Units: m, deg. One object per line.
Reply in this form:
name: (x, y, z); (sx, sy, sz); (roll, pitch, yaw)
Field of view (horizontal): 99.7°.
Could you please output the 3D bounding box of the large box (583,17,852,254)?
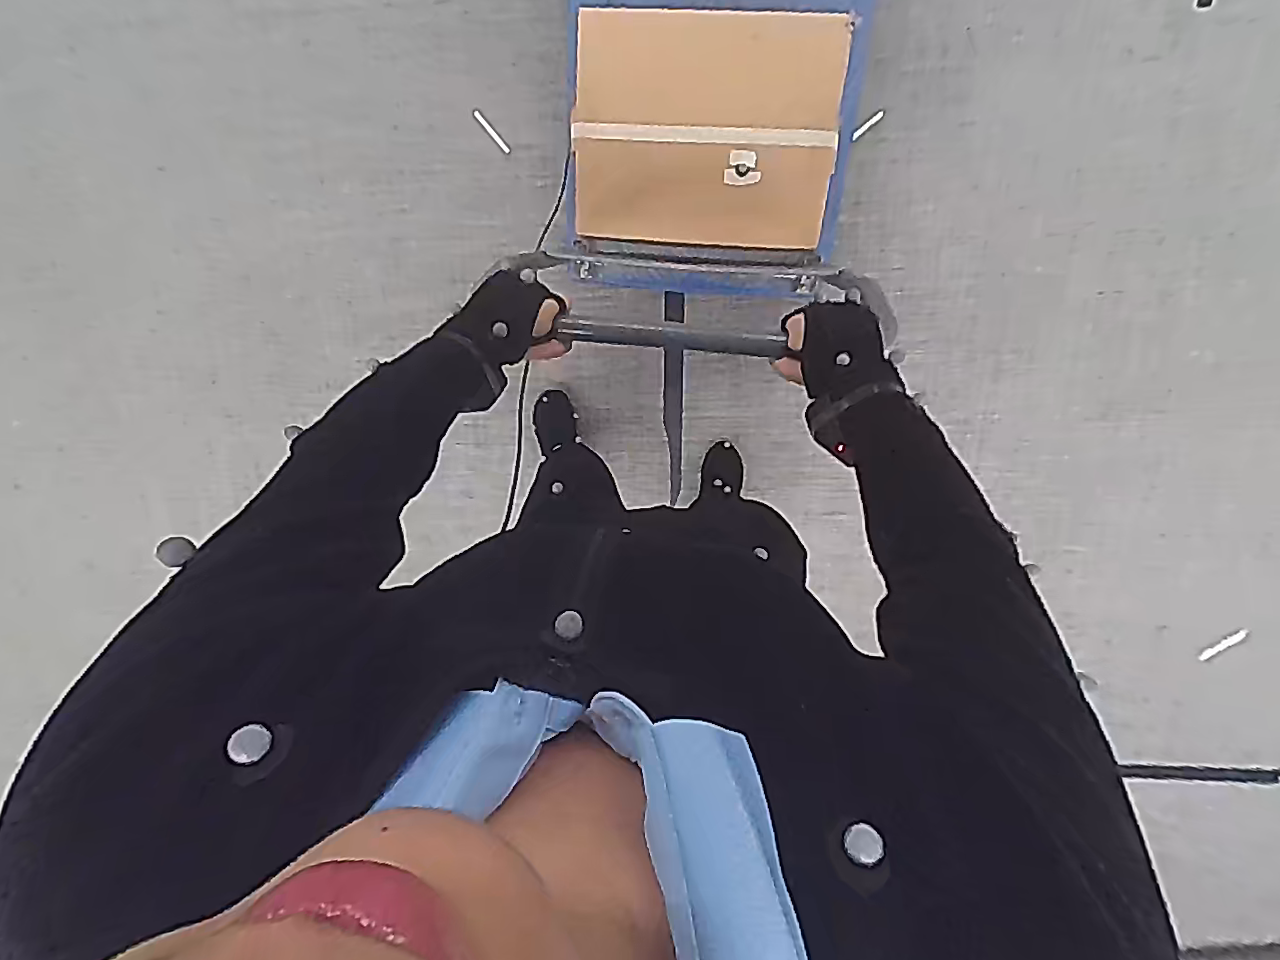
large box: (0.120, -0.596, 0.998); (0.408, 0.320, 0.320); (6, 113, 4)
